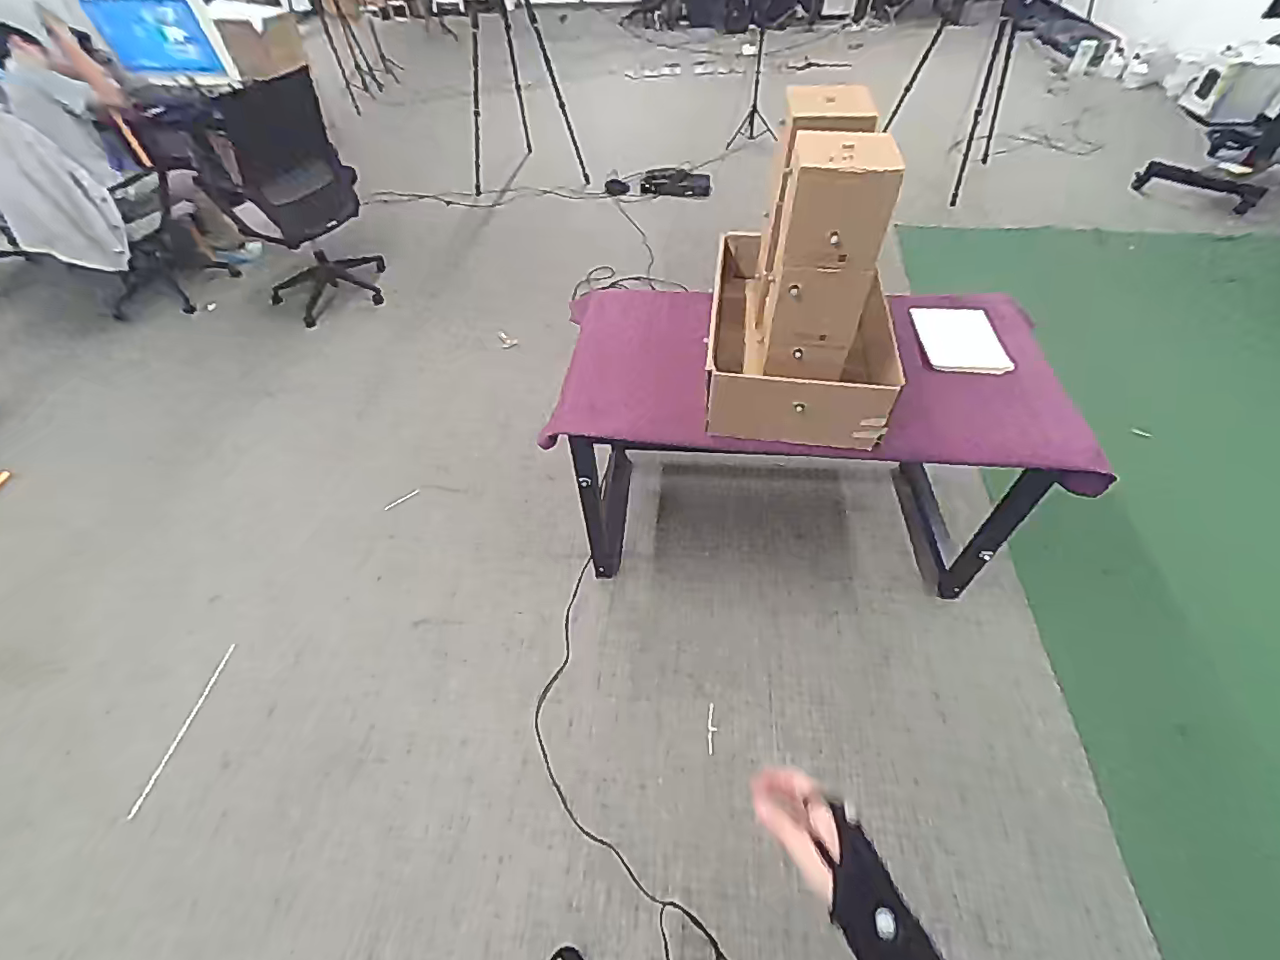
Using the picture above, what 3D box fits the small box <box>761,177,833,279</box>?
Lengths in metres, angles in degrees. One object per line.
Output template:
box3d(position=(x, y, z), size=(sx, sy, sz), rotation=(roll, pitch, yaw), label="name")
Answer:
box3d(position=(0.386, -0.597, 1.286), size=(0.168, 0.176, 0.179), rotation=(3, 51, 4), label="small box")

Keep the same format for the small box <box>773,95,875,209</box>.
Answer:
box3d(position=(0.383, -0.699, 1.159), size=(0.168, 0.176, 0.179), rotation=(3, 52, 5), label="small box")

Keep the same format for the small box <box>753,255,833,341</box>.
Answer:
box3d(position=(0.389, -0.488, 1.408), size=(0.168, 0.176, 0.179), rotation=(4, 52, 5), label="small box")

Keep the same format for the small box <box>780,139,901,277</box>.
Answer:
box3d(position=(0.351, -0.494, 0.981), size=(0.168, 0.176, 0.179), rotation=(6, 50, 7), label="small box")
